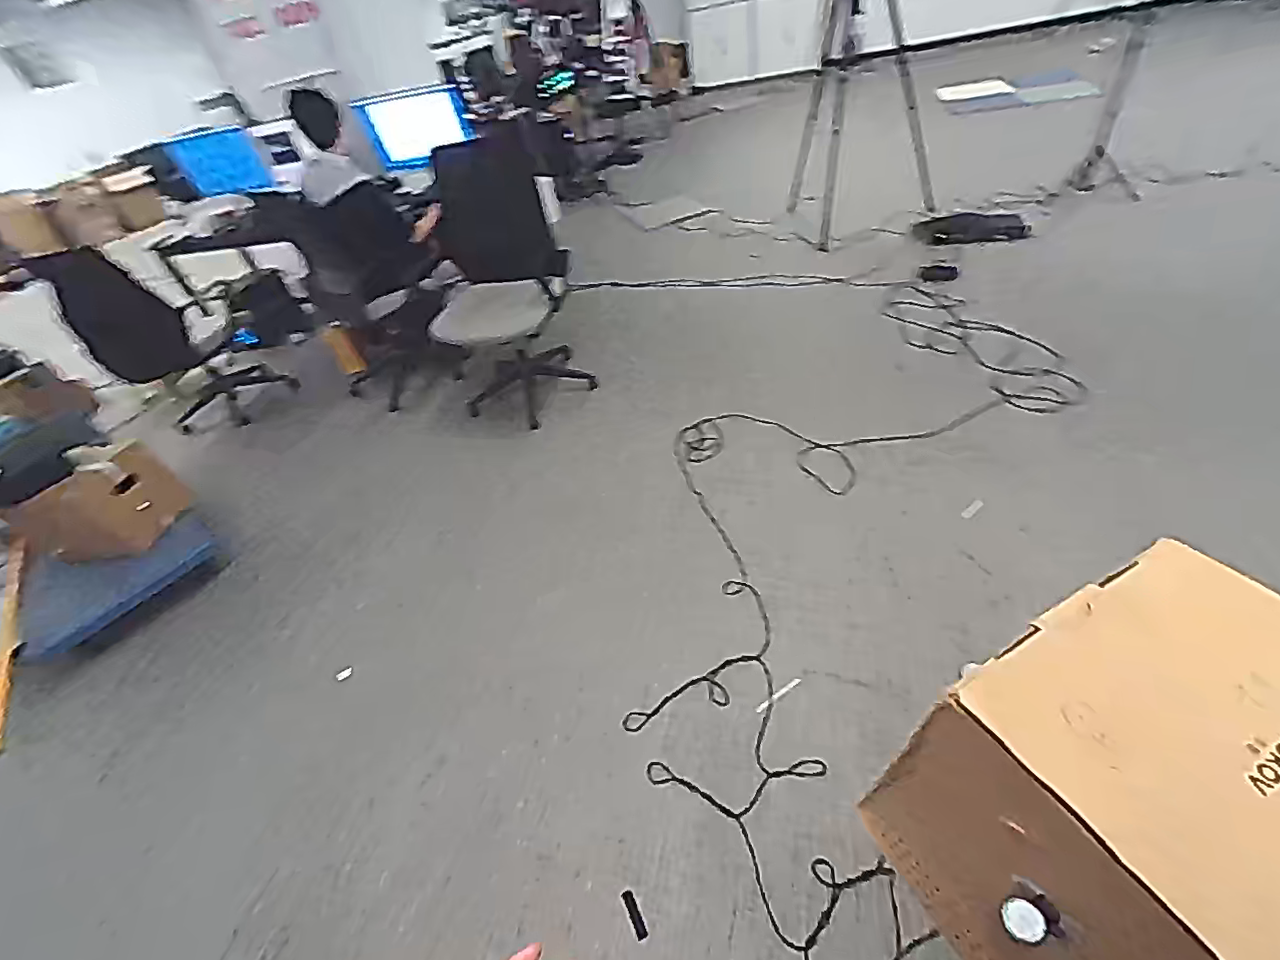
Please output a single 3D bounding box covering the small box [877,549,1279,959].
[{"bbox_3d":[0.246,0.171,0.253,0.168,0.176,0.179,-23,47,-18],"label":"small box"}]
